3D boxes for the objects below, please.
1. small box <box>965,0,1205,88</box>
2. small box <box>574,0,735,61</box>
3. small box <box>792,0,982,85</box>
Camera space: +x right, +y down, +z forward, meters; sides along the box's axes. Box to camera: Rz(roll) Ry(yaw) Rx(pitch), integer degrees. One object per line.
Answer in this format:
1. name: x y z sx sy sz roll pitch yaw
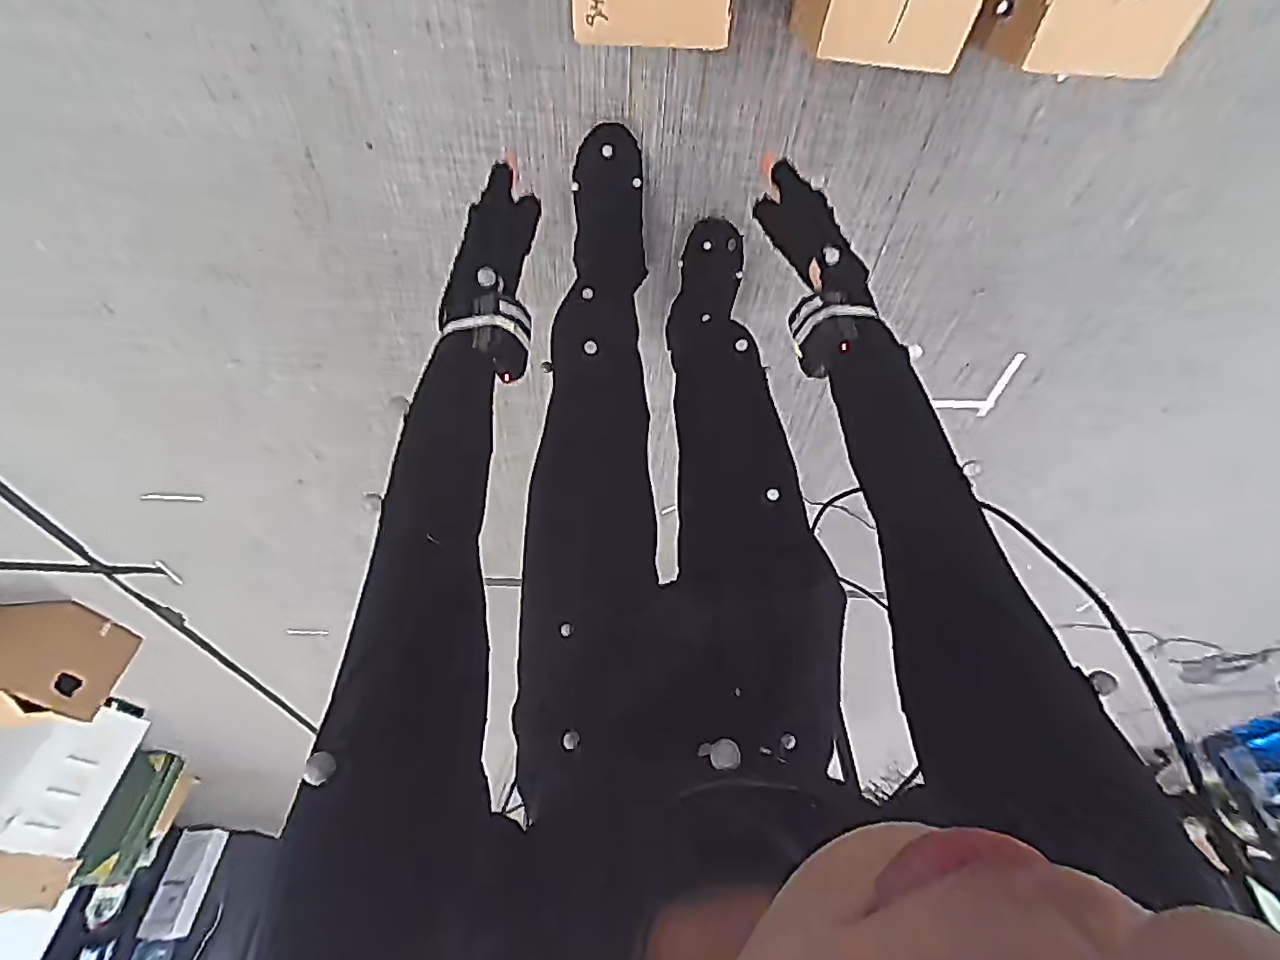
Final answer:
1. small box: 0.527 -0.585 0.634 0.179 0.176 0.168 1 140 -3
2. small box: 0.015 -0.600 0.612 0.179 0.176 0.168 1 138 -2
3. small box: 0.288 -0.591 0.623 0.168 0.176 0.179 4 140 -5
